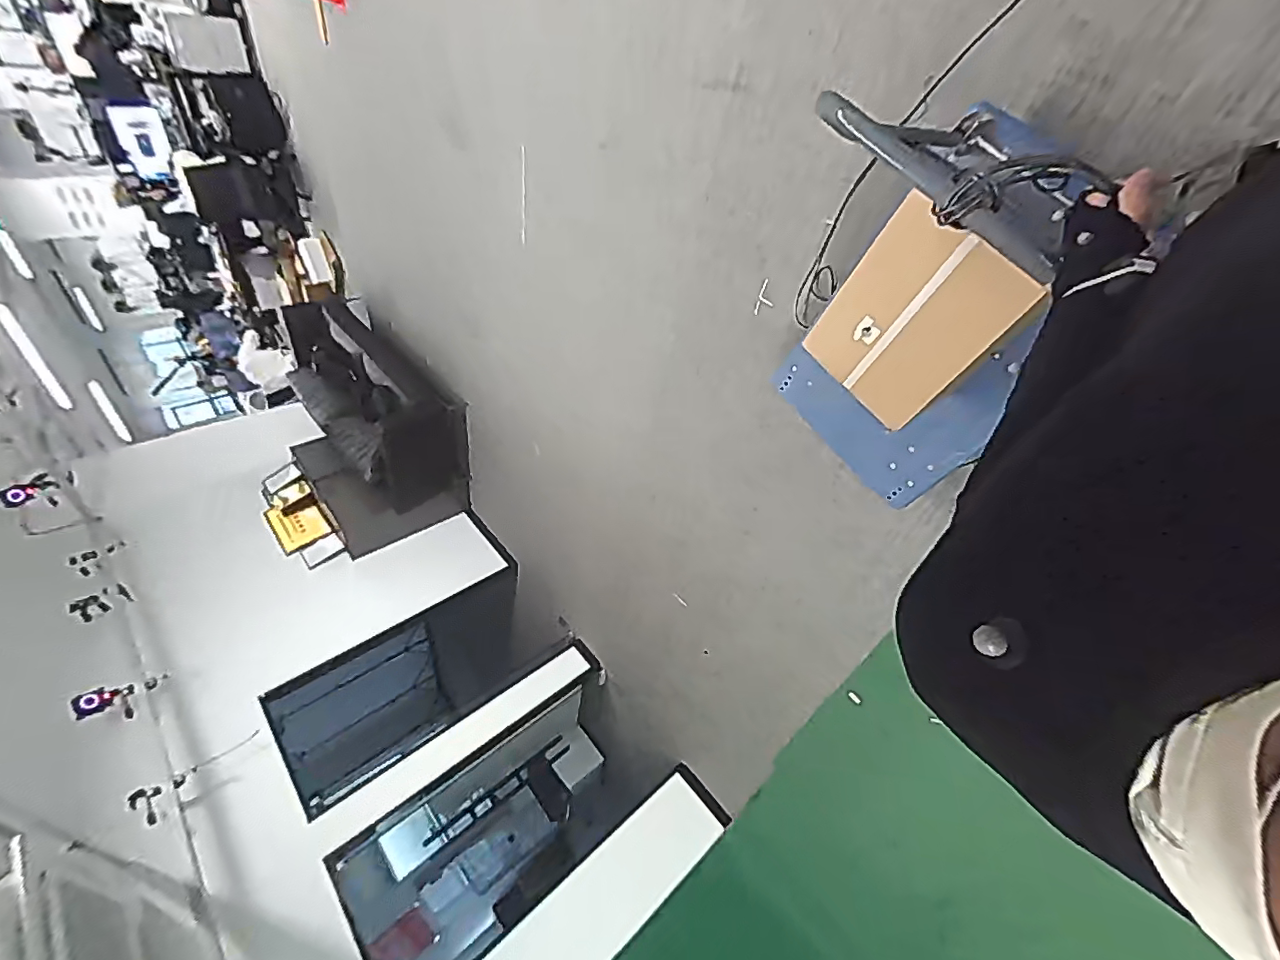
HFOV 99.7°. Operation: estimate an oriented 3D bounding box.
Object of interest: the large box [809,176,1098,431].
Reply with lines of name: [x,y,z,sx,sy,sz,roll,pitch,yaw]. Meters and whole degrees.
large box: [0.668,-0.388,1.198,0.320,0.320,0.408,52,145,18]
